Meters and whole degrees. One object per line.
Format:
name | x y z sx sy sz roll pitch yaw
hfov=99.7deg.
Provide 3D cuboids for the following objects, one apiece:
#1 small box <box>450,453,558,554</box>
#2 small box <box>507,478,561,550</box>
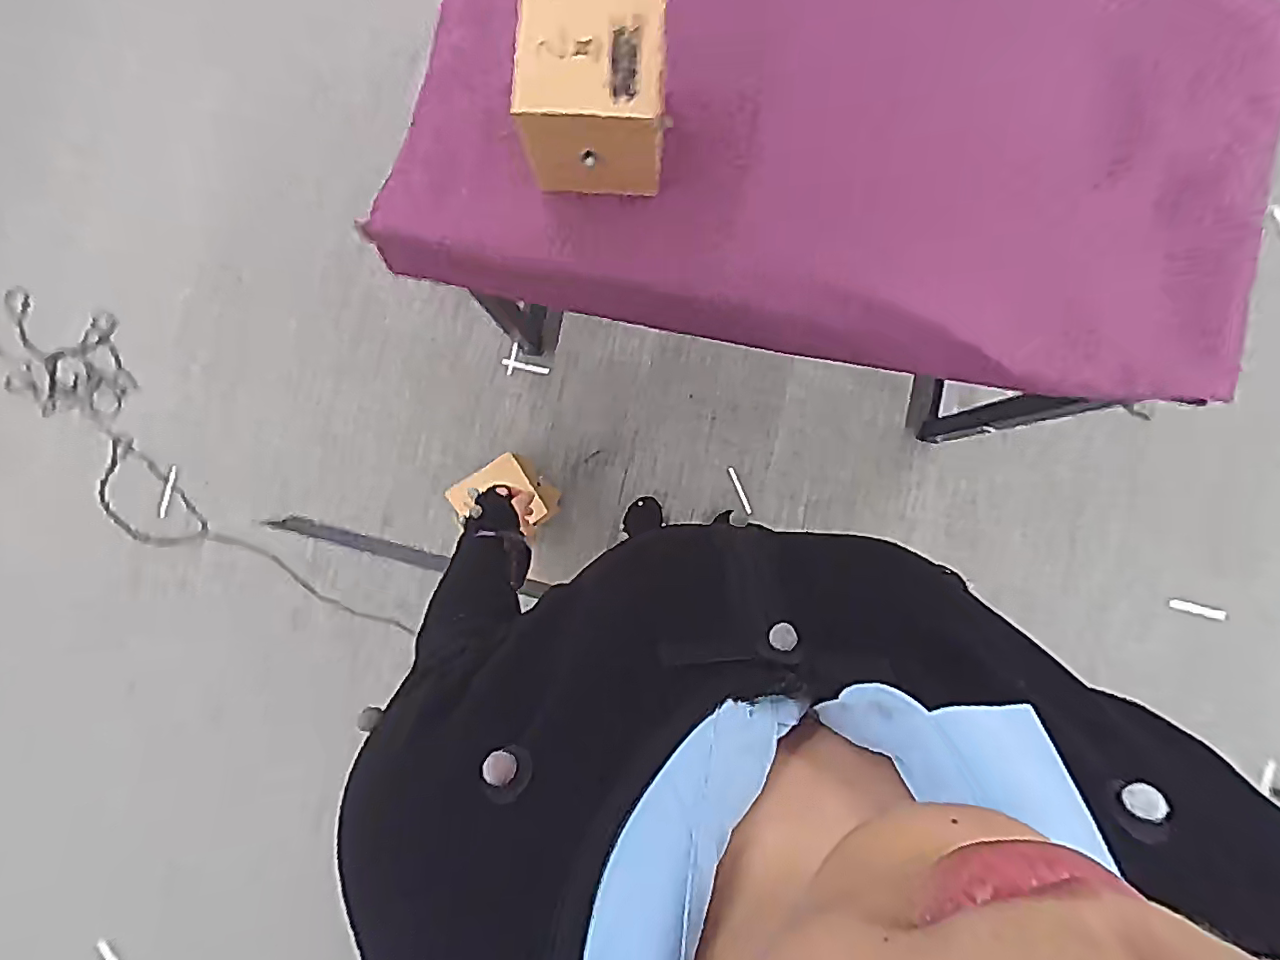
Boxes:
small box | -0.309 0.054 1.278 0.179 0.176 0.168 -32 87 0
small box | -0.330 0.064 1.443 0.168 0.176 0.179 36 89 2
